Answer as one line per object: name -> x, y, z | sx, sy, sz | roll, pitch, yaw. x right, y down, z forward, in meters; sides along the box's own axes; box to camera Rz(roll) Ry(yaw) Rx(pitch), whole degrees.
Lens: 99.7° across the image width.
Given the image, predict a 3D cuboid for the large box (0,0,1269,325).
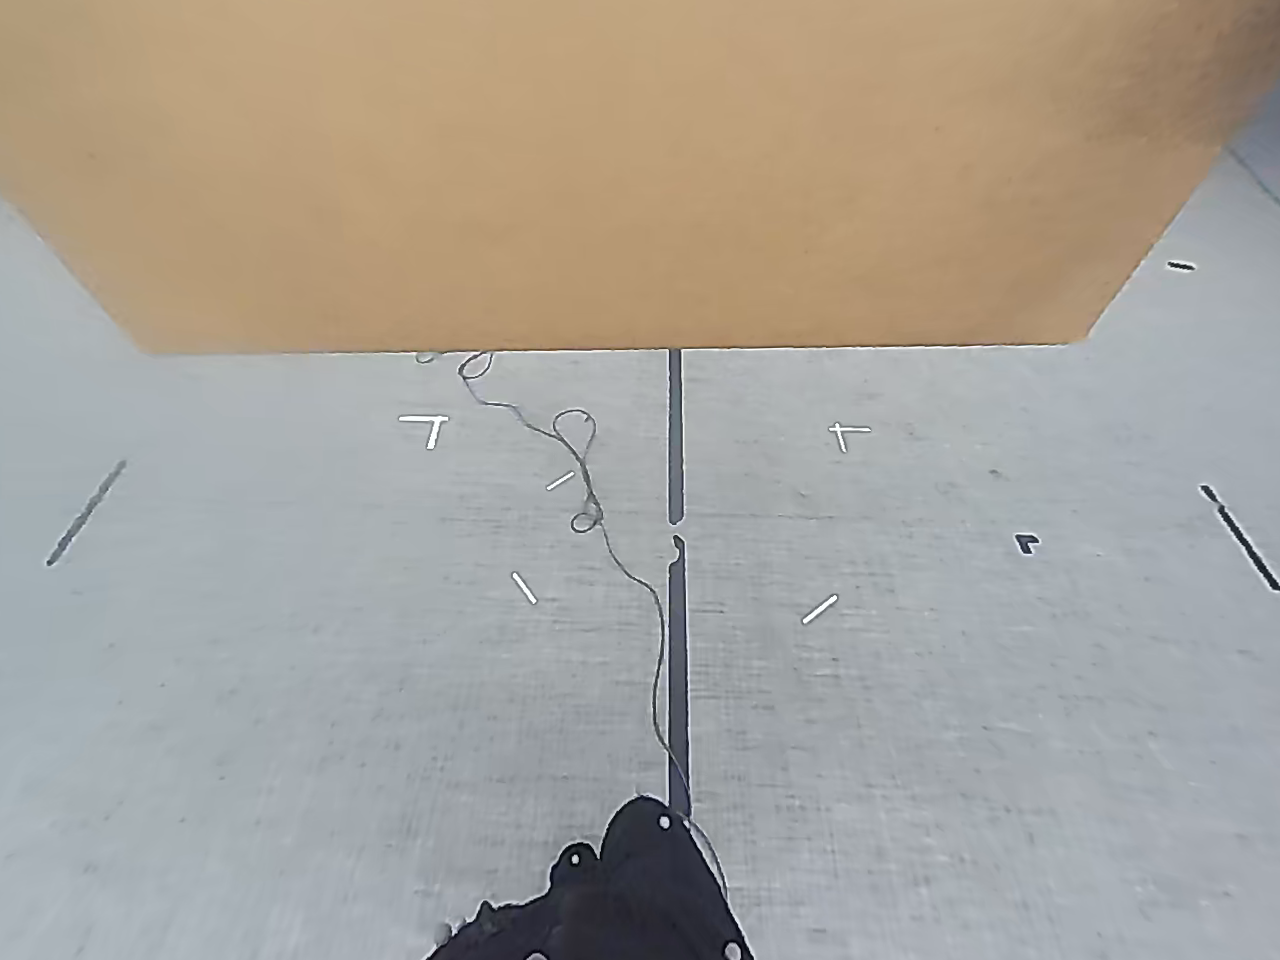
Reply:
large box -> -0.010, -0.279, 0.222 | 0.408, 0.320, 0.320 | 0, 51, -2
